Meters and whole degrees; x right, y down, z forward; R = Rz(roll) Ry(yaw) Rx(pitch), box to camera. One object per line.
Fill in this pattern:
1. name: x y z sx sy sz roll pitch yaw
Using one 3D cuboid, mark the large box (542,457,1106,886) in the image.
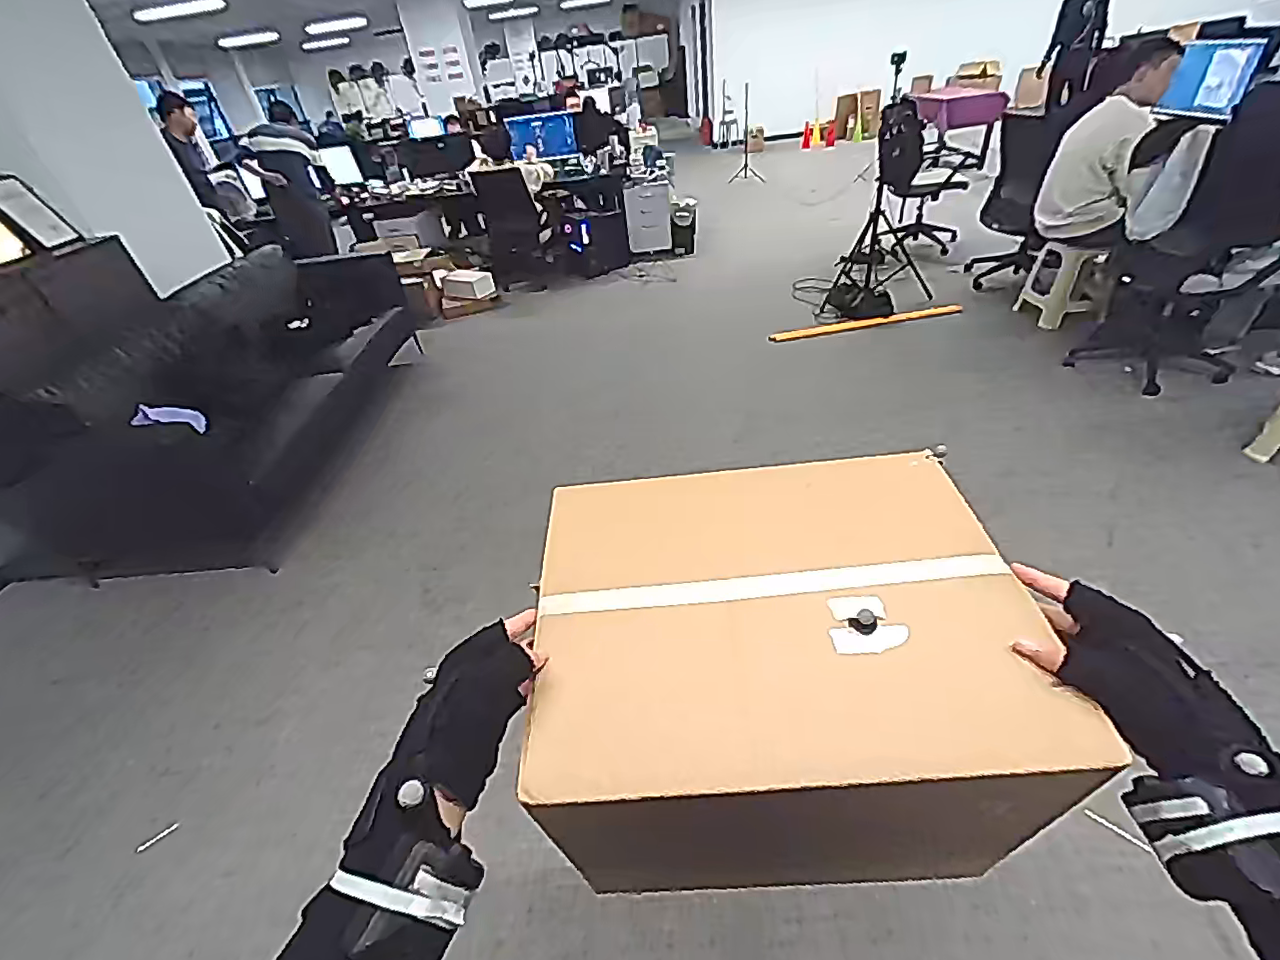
1. large box: 0.132 0.206 0.585 0.408 0.320 0.320 -5 43 3
